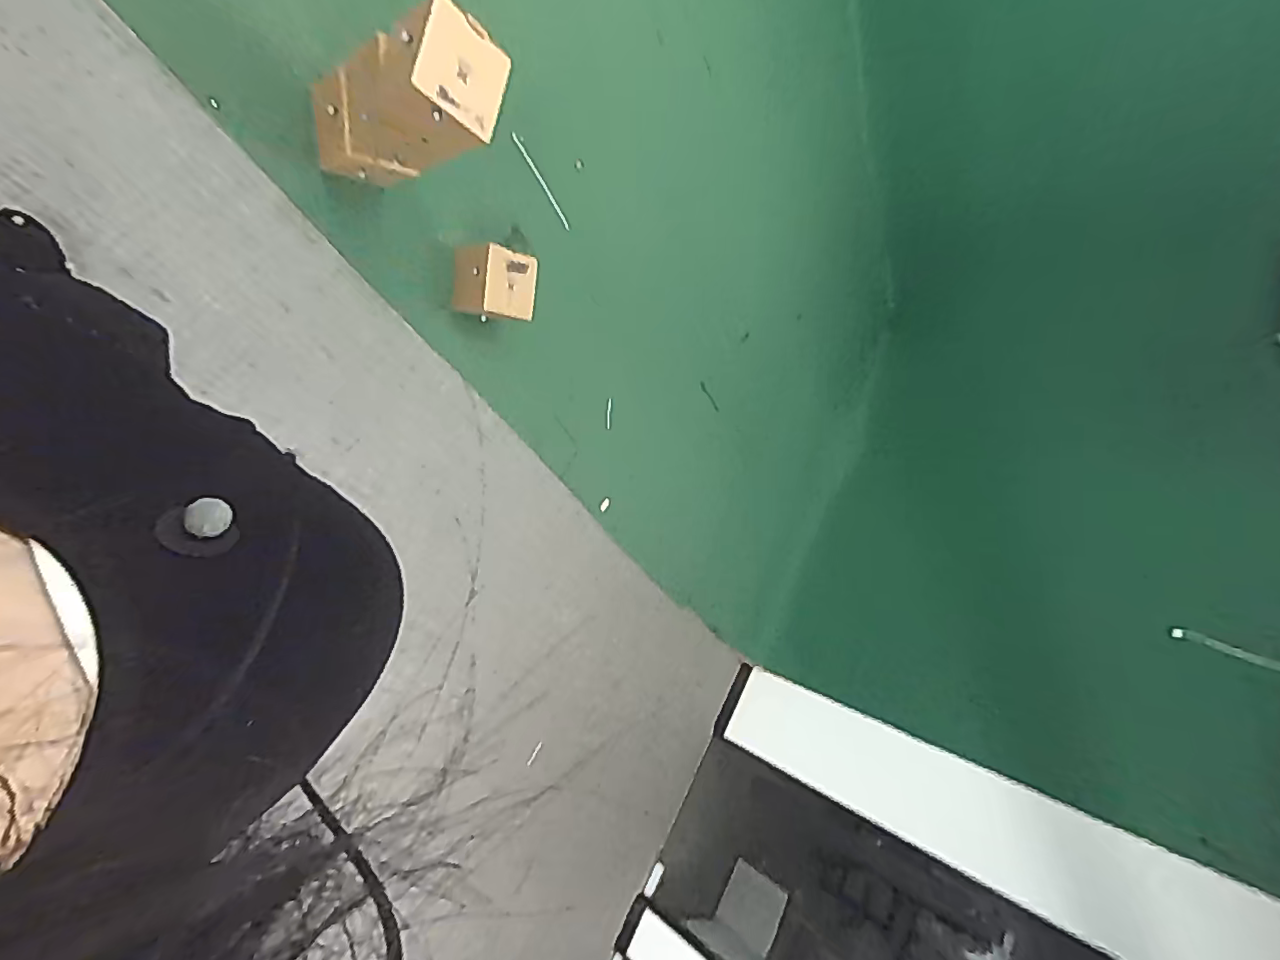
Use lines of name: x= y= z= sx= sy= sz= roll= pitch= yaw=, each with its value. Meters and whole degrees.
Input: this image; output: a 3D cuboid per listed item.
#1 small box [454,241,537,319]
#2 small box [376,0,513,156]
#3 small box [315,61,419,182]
small box: x=-0.420 y=-0.572 z=1.561 sx=0.168 sy=0.176 sz=0.179 roll=-3 pitch=104 yaw=-49
small box: x=-0.377 y=-0.766 z=1.038 sx=0.168 sy=0.176 sz=0.179 roll=17 pitch=88 yaw=-50
small box: x=-0.628 y=-0.810 z=1.247 sx=0.168 sy=0.176 sz=0.179 roll=-12 pitch=110 yaw=-47
